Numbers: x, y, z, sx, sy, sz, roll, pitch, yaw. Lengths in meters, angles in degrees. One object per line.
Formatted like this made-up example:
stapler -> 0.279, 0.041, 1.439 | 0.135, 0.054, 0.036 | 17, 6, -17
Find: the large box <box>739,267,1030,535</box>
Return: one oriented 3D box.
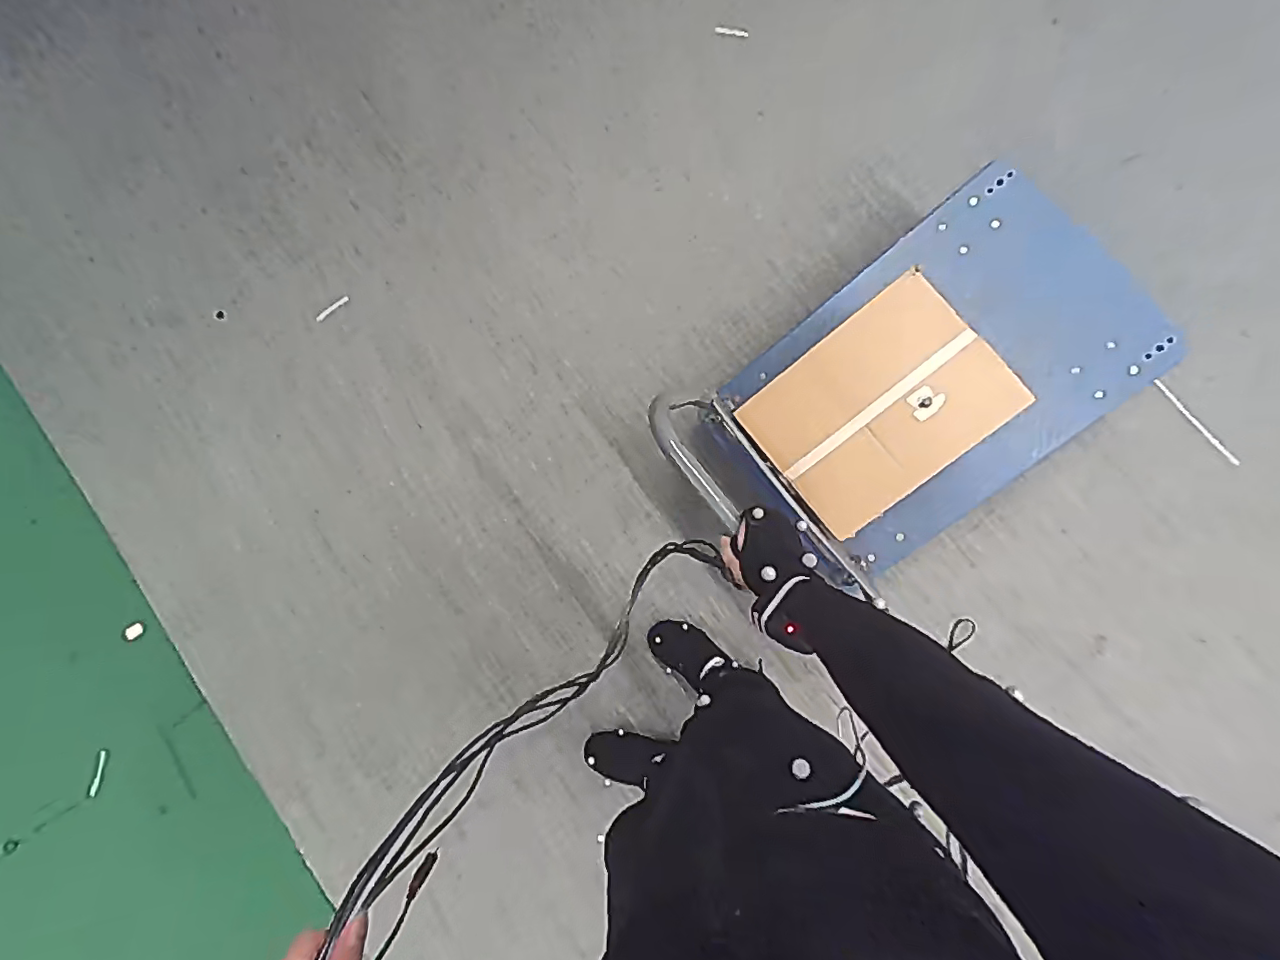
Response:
large box -> 0.458, -0.138, 1.118 | 0.408, 0.320, 0.320 | -39, 83, 10
